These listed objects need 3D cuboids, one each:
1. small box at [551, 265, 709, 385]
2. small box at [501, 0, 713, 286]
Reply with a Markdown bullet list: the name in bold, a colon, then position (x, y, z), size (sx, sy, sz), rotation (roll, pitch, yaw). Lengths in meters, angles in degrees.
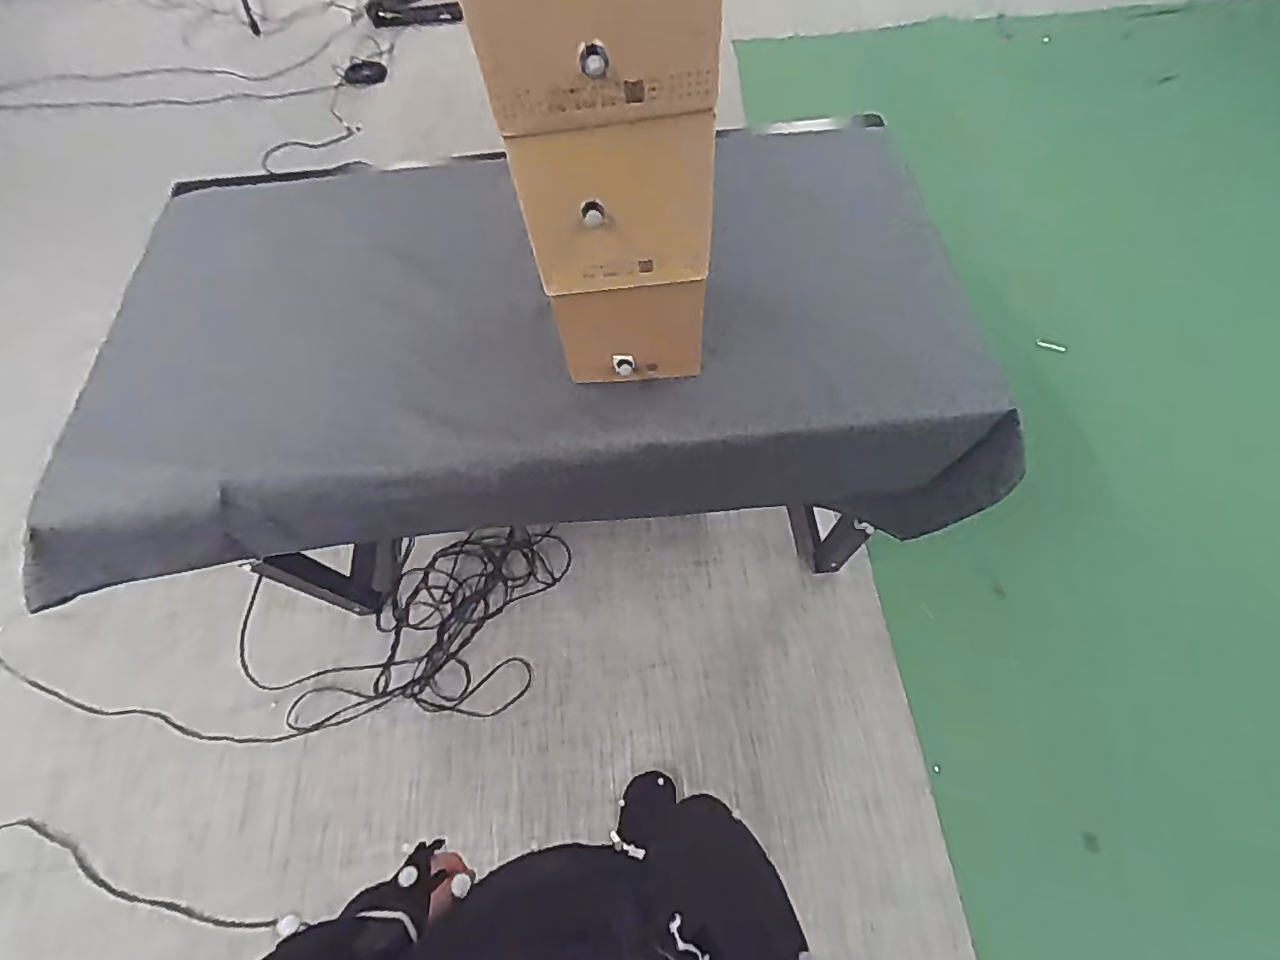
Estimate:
- **small box**: position (-0.011, -0.239, 0.661), size (0.168, 0.176, 0.179), rotation (-5, 64, 2)
- **small box**: position (-0.024, -0.305, 0.512), size (0.168, 0.176, 0.179), rotation (-6, 62, 2)
